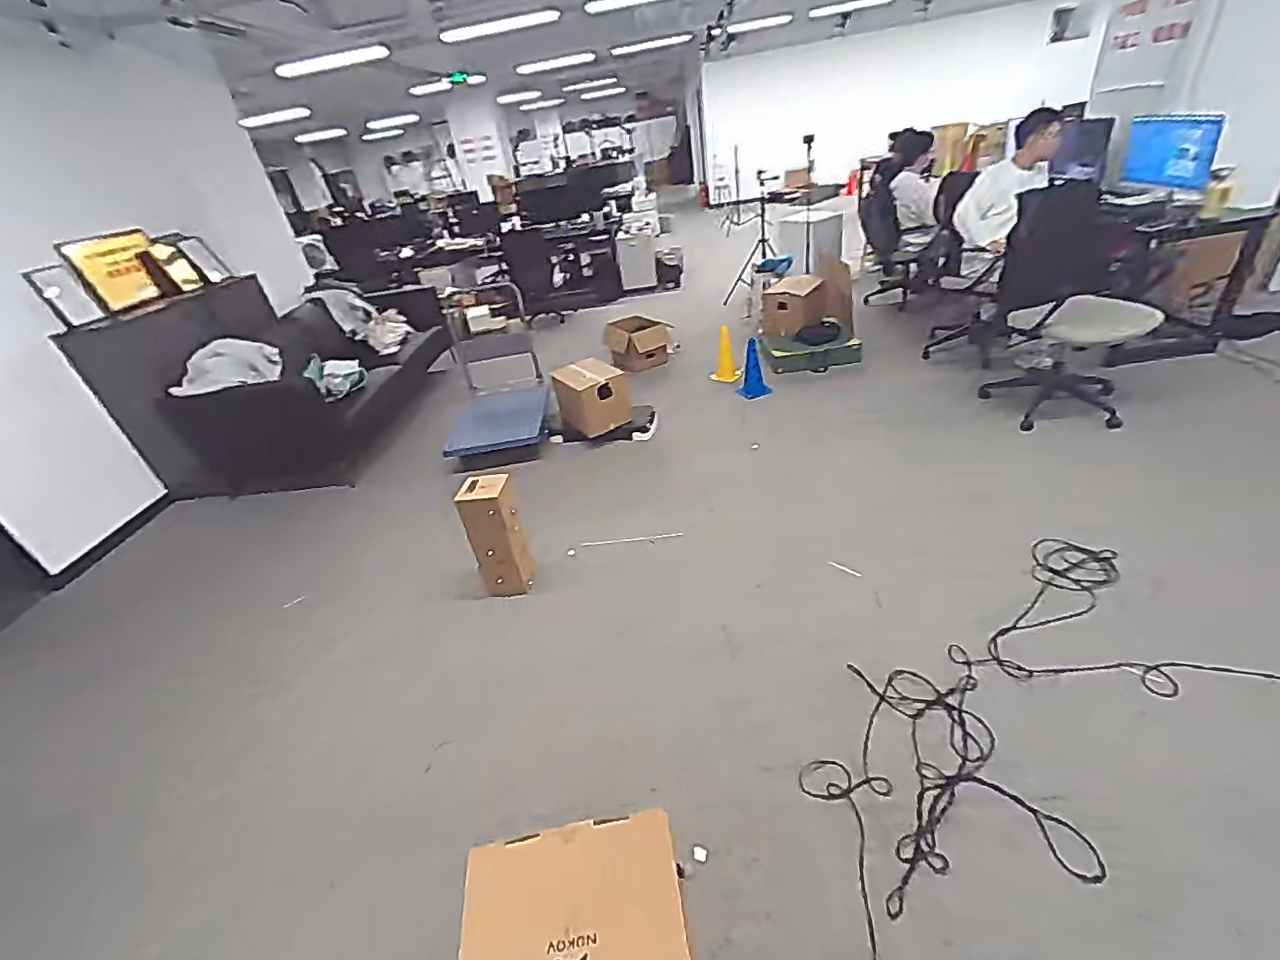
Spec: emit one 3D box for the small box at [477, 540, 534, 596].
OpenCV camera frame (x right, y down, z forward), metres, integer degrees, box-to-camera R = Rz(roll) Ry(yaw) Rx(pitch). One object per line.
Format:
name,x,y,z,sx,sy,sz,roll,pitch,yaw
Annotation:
small box,-0.564,0.373,2.296,0.179,0.176,0.168,-6,32,8

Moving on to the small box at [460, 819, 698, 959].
small box,-0.035,0.403,0.423,0.168,0.176,0.179,-10,40,-2

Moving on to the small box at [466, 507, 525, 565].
small box,-0.582,0.234,2.209,0.168,0.176,0.179,-5,32,7
